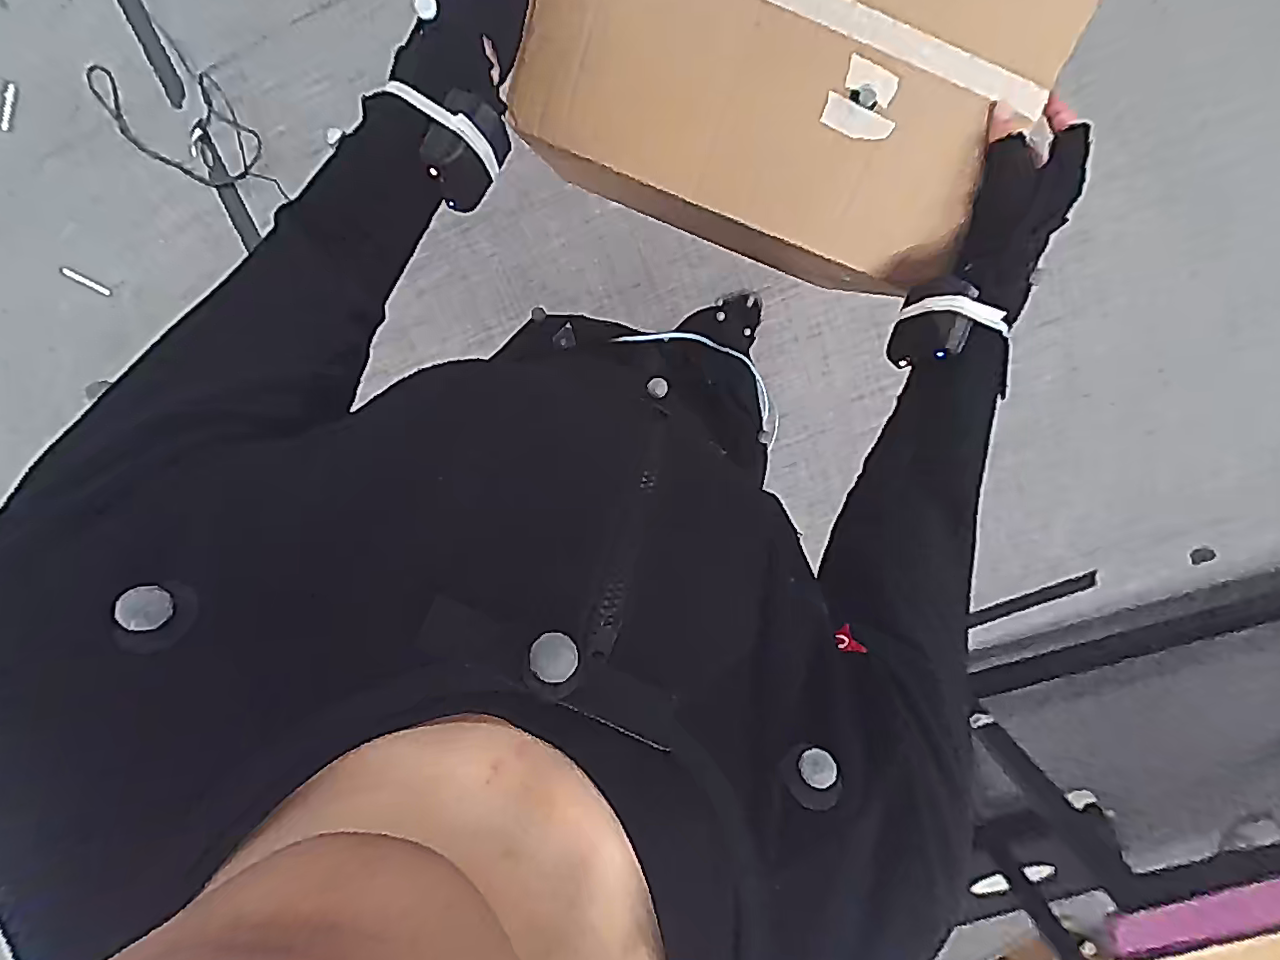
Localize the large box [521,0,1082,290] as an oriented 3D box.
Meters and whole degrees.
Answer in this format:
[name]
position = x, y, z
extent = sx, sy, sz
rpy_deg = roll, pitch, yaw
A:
[large box]
position = 0.132, -0.423, 0.567
extent = 0.408, 0.320, 0.320
rpy_deg = 19, 111, -7
